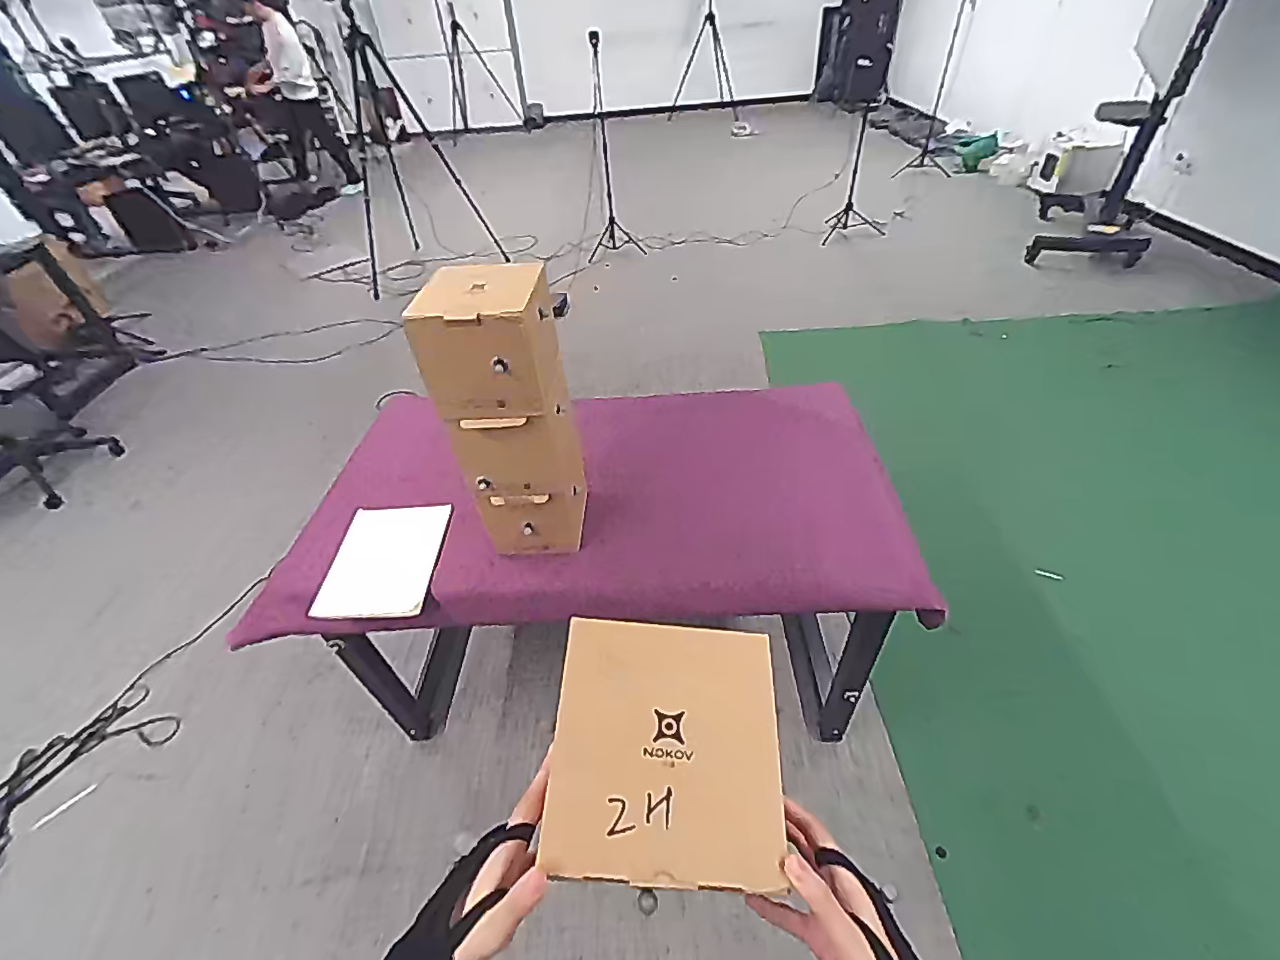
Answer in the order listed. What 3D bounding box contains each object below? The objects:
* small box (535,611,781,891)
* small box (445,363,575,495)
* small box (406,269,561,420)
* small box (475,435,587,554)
[{"bbox_3d":[0.013,0.235,0.465,0.168,0.176,0.179,6,52,0],"label":"small box"},{"bbox_3d":[-0.211,-0.086,0.938,0.168,0.176,0.179,-1,41,4],"label":"small box"},{"bbox_3d":[-0.222,-0.204,0.826,0.168,0.176,0.179,-1,42,4],"label":"small box"},{"bbox_3d":[-0.200,0.032,1.053,0.168,0.176,0.179,-1,43,3],"label":"small box"}]
